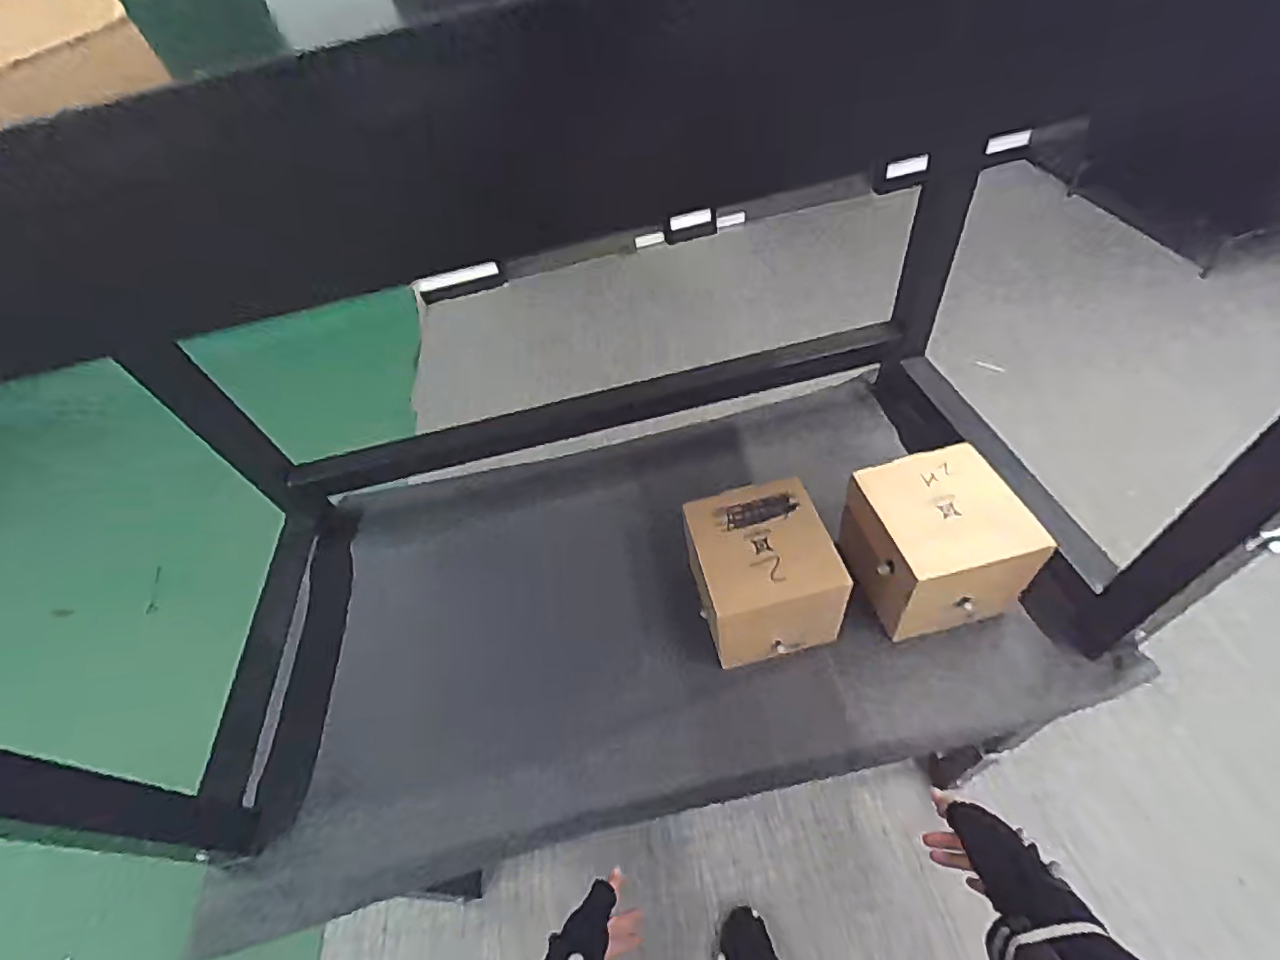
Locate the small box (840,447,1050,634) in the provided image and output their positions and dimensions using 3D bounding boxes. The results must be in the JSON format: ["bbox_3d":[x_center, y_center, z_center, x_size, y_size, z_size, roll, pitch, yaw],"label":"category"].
[{"bbox_3d":[0.390,0.090,0.732,0.168,0.176,0.179,-15,48,0],"label":"small box"}]
